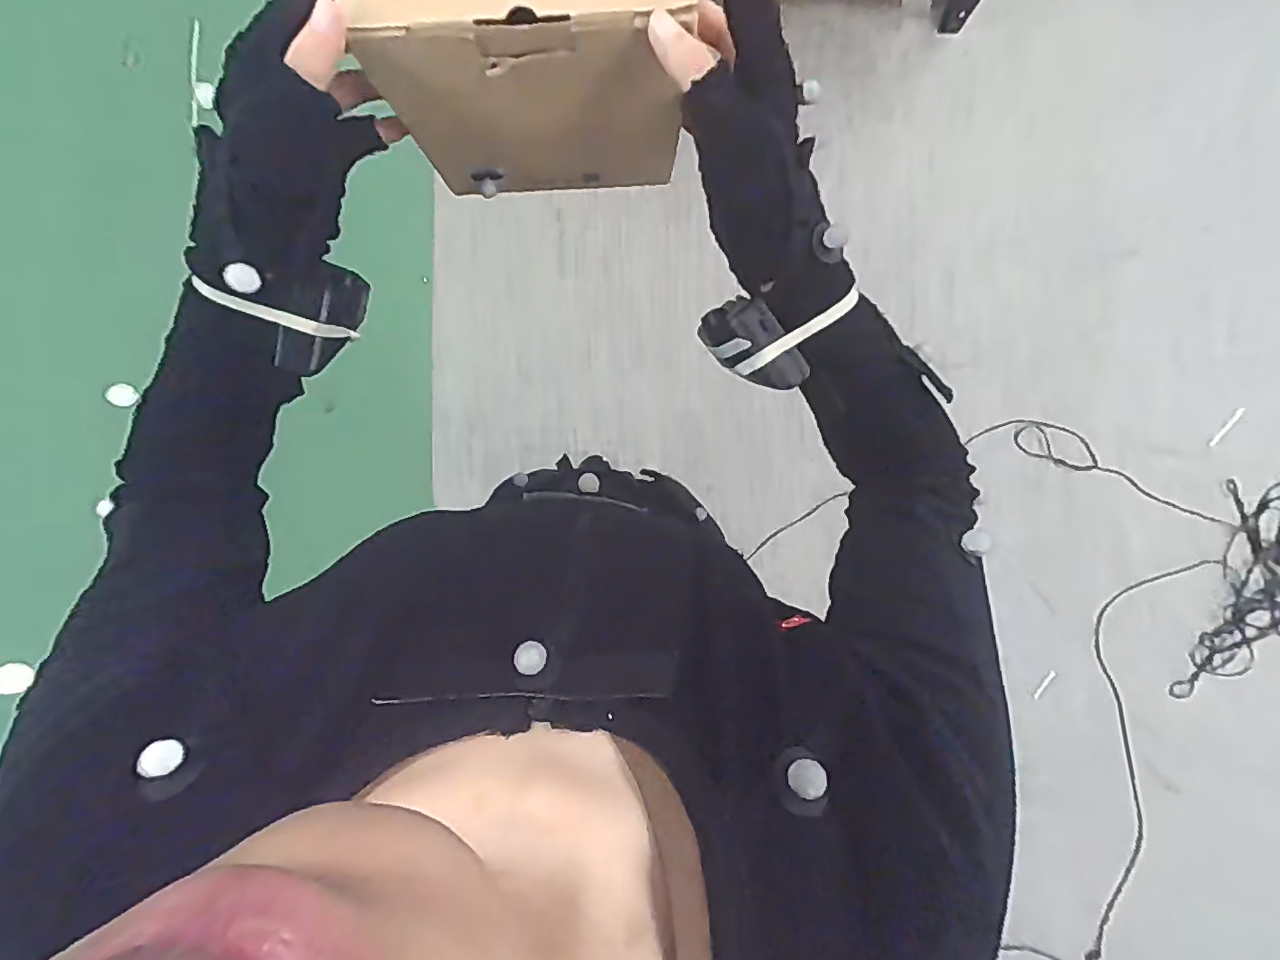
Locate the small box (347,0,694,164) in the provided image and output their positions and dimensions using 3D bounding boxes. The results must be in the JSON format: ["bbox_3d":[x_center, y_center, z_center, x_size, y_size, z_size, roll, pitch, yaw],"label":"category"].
[{"bbox_3d":[-0.058,-0.308,0.314,0.168,0.176,0.179,-4,93,-2],"label":"small box"}]
